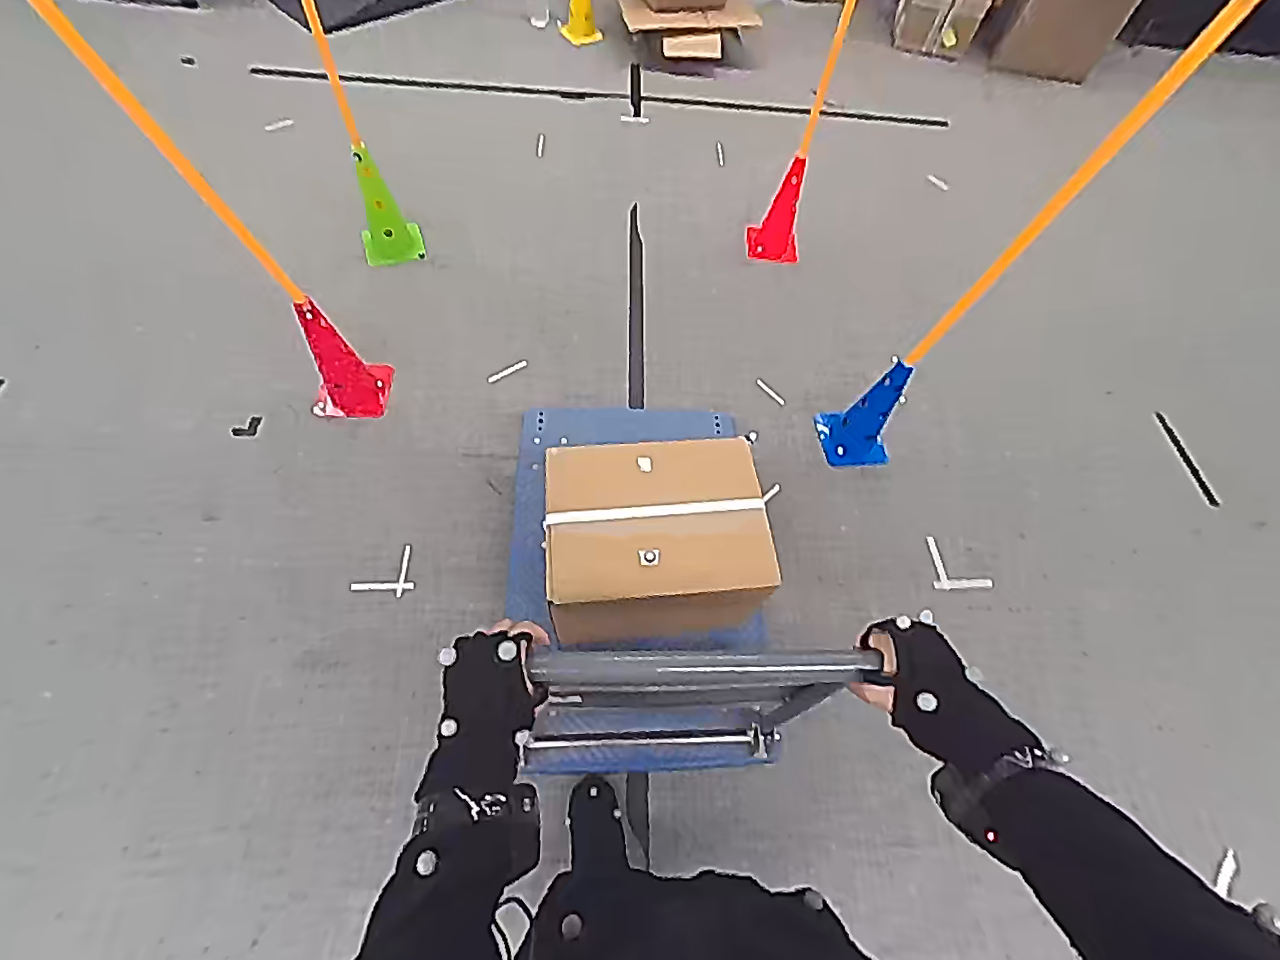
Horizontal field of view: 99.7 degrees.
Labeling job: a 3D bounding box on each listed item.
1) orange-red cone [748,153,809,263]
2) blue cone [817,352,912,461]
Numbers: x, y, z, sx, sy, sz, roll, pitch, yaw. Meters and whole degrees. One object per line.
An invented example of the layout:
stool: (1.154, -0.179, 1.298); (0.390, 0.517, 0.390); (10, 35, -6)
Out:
orange-red cone: (0.545, -1.020, 1.991); (0.199, 0.360, 0.198); (8, 61, -2)
blue cone: (0.685, -0.222, 1.574); (0.193, 0.380, 0.192); (-2, 60, -7)
